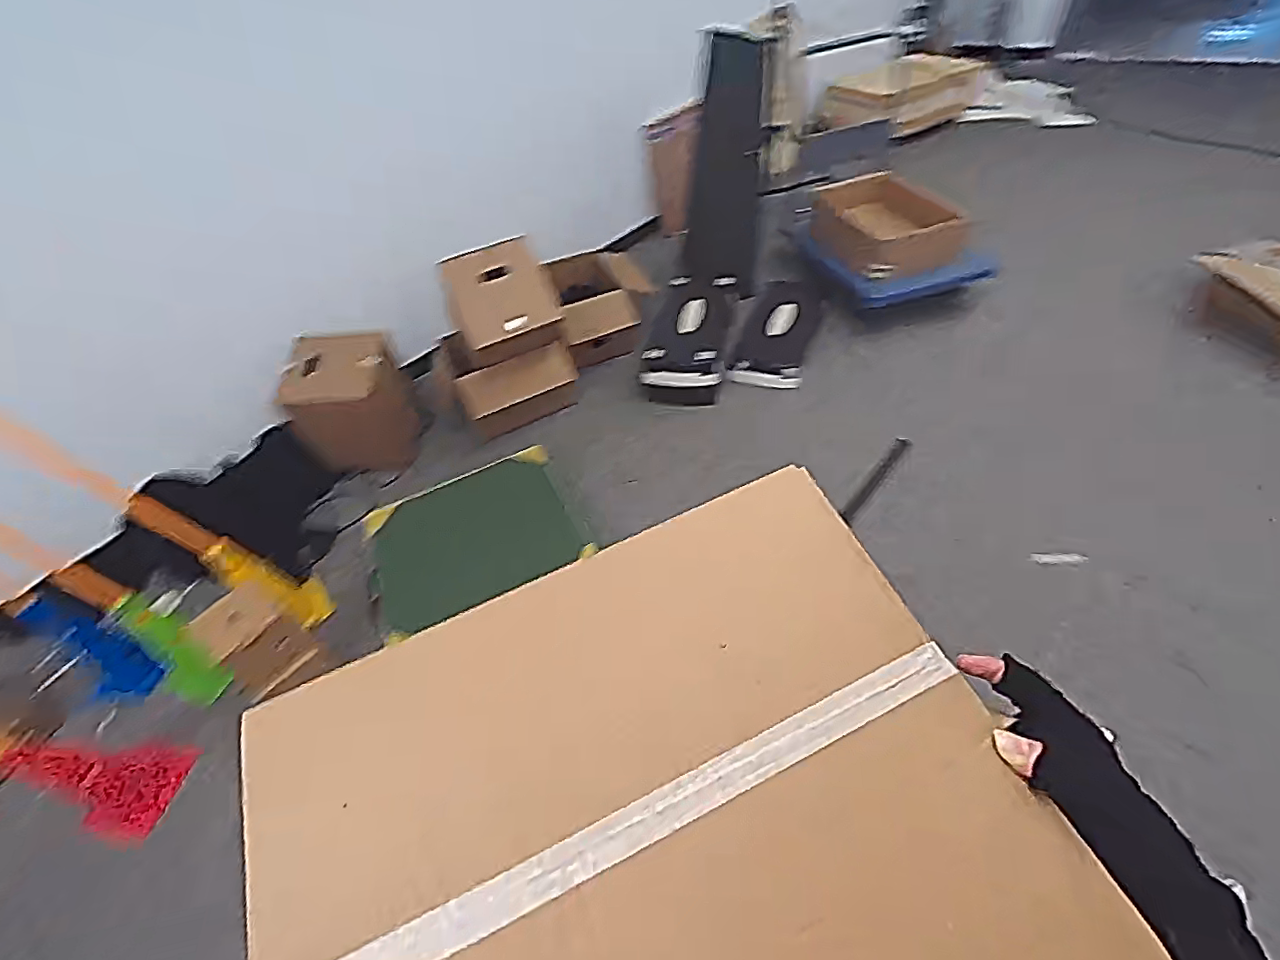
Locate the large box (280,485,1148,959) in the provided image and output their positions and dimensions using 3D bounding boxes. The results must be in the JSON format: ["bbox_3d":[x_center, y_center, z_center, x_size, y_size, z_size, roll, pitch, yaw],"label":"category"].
[{"bbox_3d":[0.021,0.270,0.430,0.408,0.320,0.320,-23,59,-7],"label":"large box"}]
